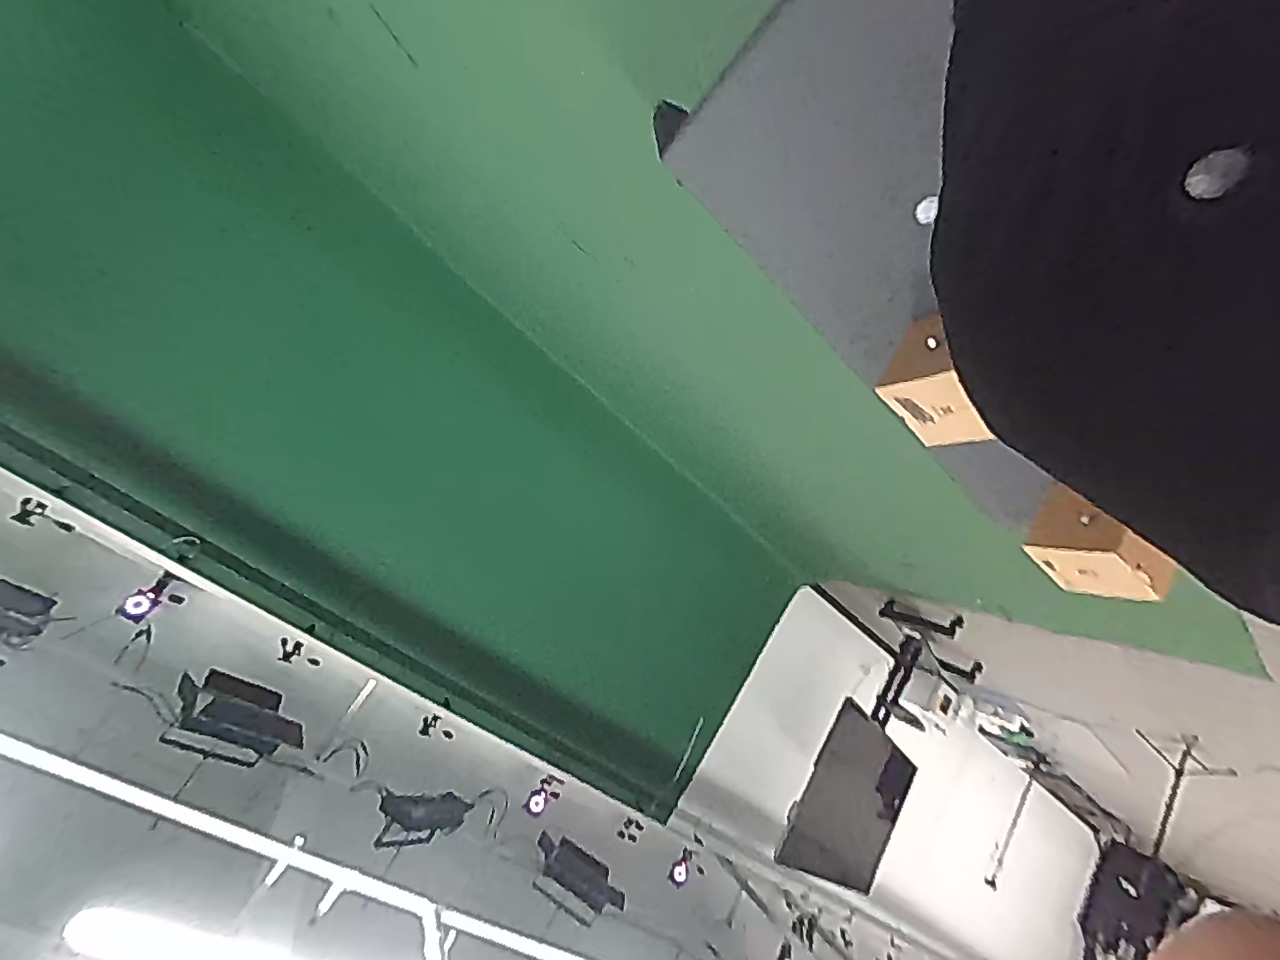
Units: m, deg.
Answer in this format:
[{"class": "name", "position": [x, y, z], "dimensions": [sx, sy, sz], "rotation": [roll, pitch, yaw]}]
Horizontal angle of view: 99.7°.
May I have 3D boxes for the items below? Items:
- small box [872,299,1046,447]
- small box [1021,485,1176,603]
[{"class": "small box", "position": [0.555, -0.180, 0.944], "dimensions": [0.168, 0.176, 0.179], "rotation": [39, 163, -17]}, {"class": "small box", "position": [0.926, 0.122, 1.089], "dimensions": [0.168, 0.176, 0.179], "rotation": [39, 164, -15]}]
